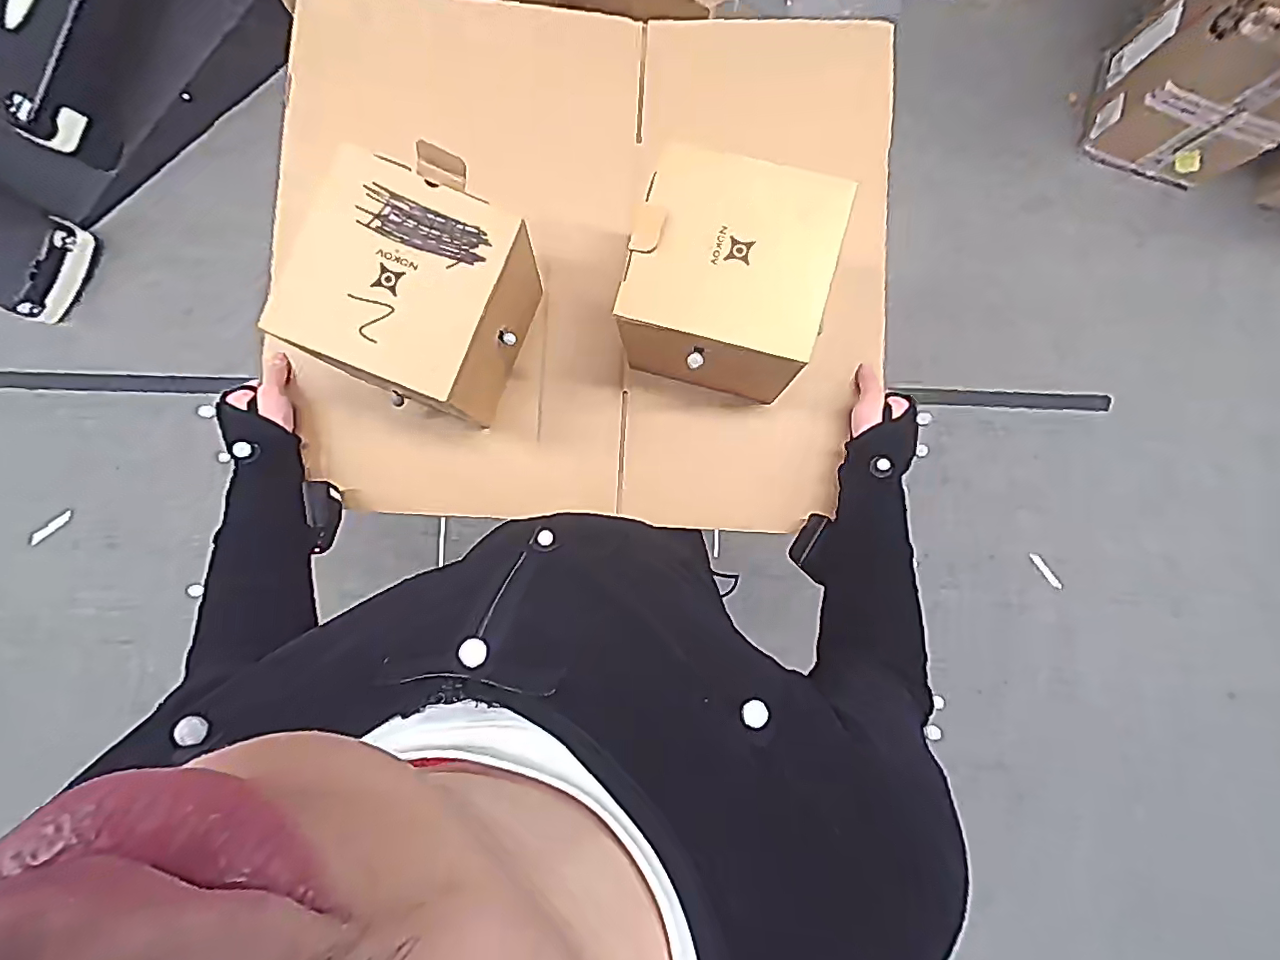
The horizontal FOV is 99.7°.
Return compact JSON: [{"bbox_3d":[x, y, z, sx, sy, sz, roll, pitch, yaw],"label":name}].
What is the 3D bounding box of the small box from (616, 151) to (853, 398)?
[{"bbox_3d":[0.090,-0.193,0.559,0.179,0.176,0.168,16,88,6],"label":"small box"}]
